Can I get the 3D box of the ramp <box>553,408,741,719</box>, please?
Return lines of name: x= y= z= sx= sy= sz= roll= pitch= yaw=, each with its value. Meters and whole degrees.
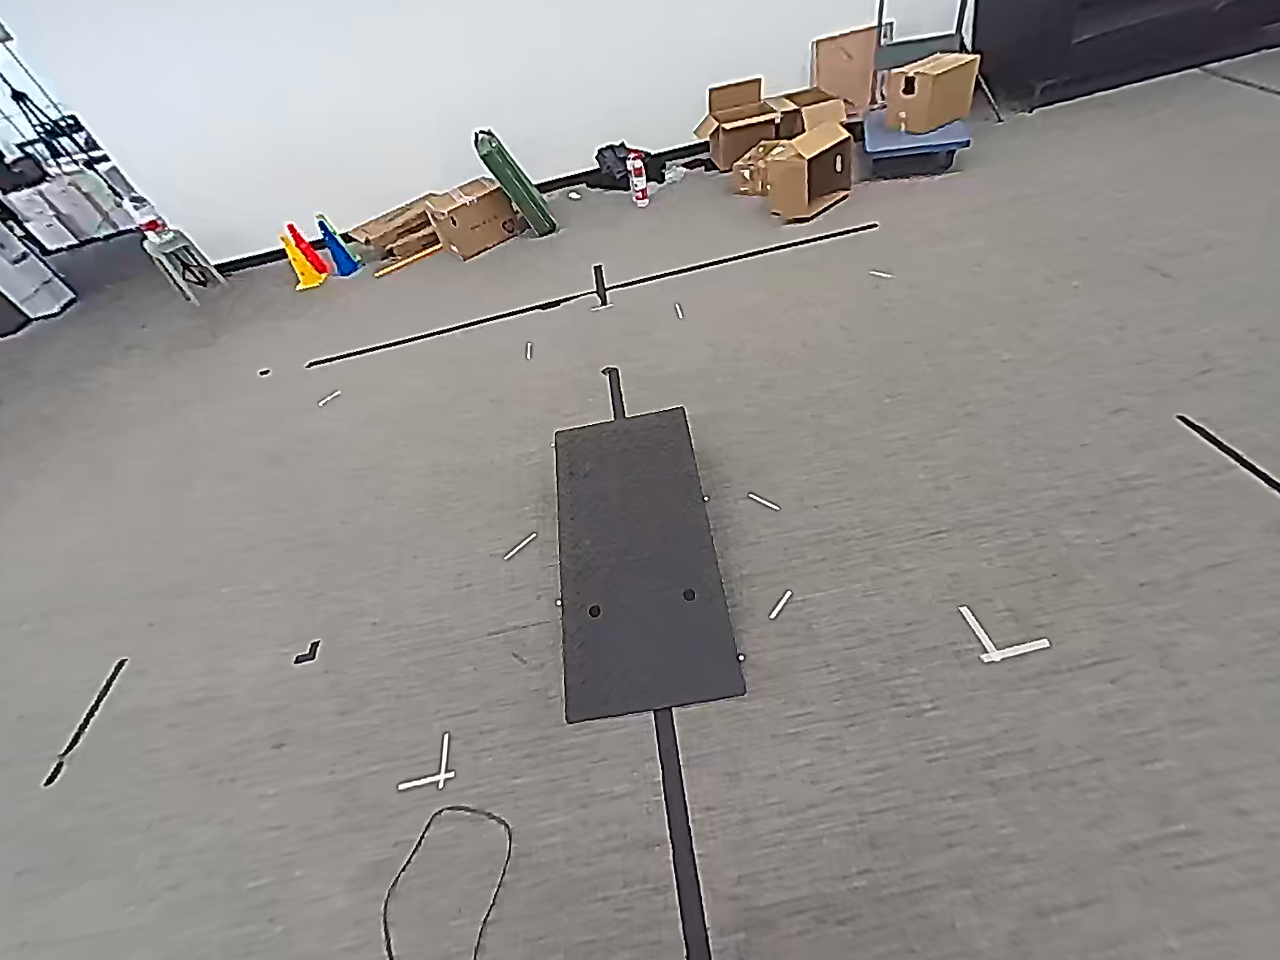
ramp: x=-0.021 y=0.194 z=1.719 sx=0.509 sy=0.206 sz=0.991 roll=-11 pitch=46 yaw=2
